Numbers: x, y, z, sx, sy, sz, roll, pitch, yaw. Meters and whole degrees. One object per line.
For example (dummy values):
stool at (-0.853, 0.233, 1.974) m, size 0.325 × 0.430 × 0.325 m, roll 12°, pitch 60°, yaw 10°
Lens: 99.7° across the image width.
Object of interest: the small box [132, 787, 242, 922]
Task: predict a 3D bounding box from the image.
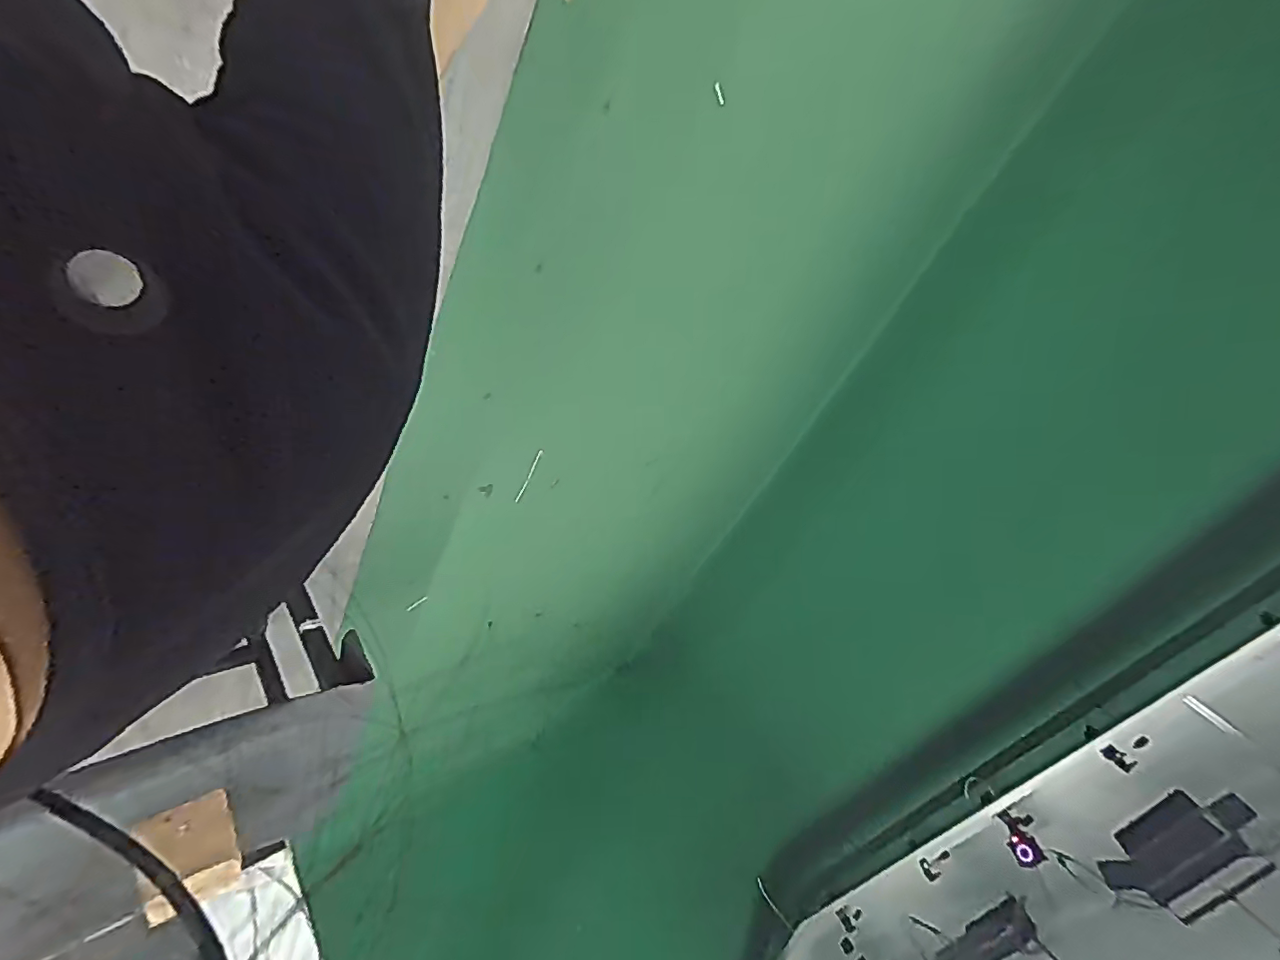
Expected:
small box at (-1.032, 0.845, 1.236) m, size 0.168 × 0.176 × 0.179 m, roll -12°, pitch 140°, yaw -46°
